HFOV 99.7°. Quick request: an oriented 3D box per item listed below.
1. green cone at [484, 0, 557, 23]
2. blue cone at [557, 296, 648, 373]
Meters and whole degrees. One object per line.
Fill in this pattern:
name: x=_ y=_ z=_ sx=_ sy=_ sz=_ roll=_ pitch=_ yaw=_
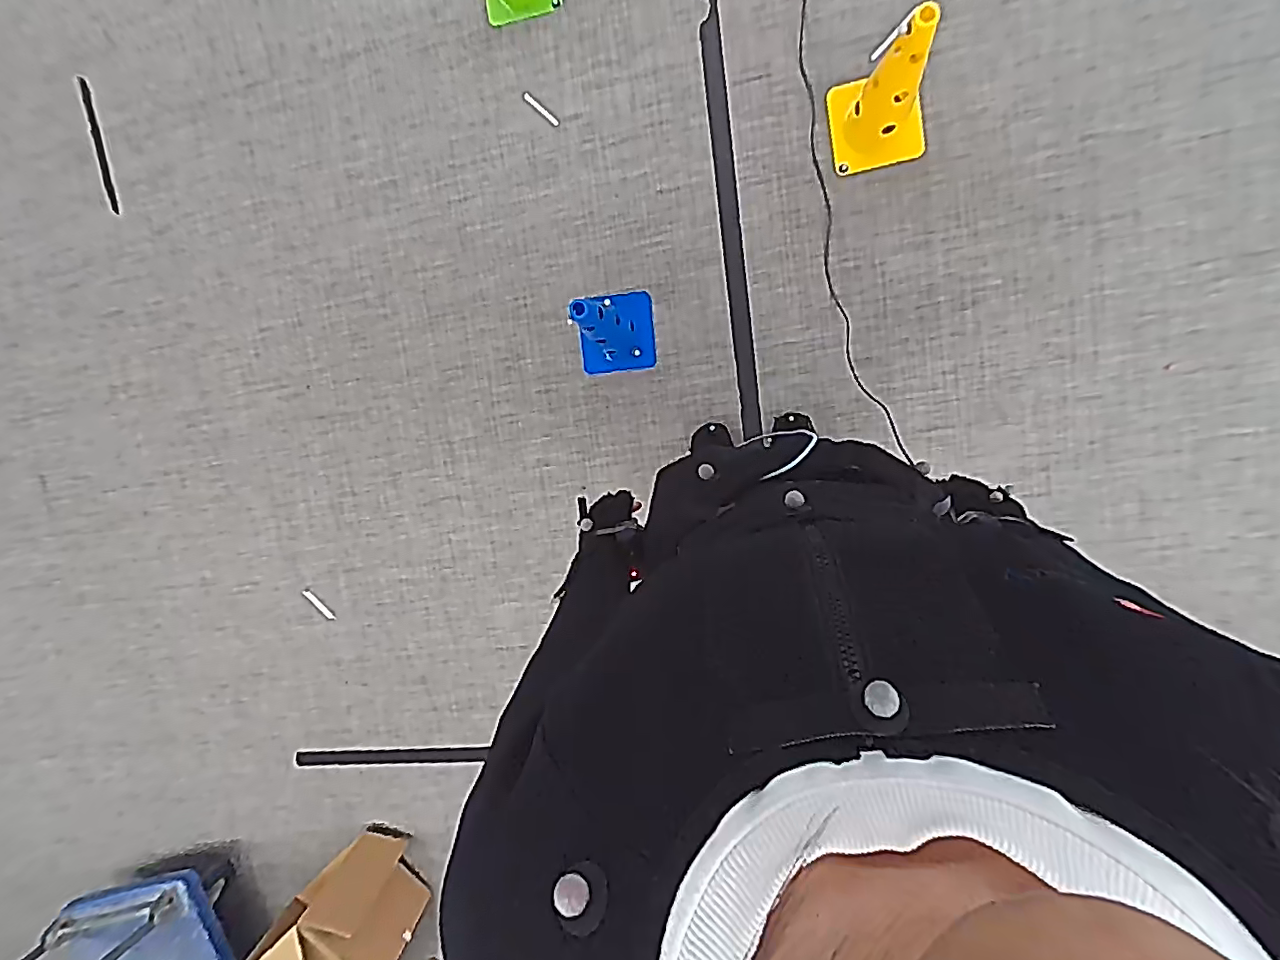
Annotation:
green cone: x=-0.338 y=-1.251 z=1.186 sx=0.202 sy=0.368 sz=0.200 roll=-6 pitch=96 yaw=12
blue cone: x=-0.106 y=-0.366 z=1.275 sx=0.192 sy=0.380 sz=0.193 roll=-3 pitch=97 yaw=11
